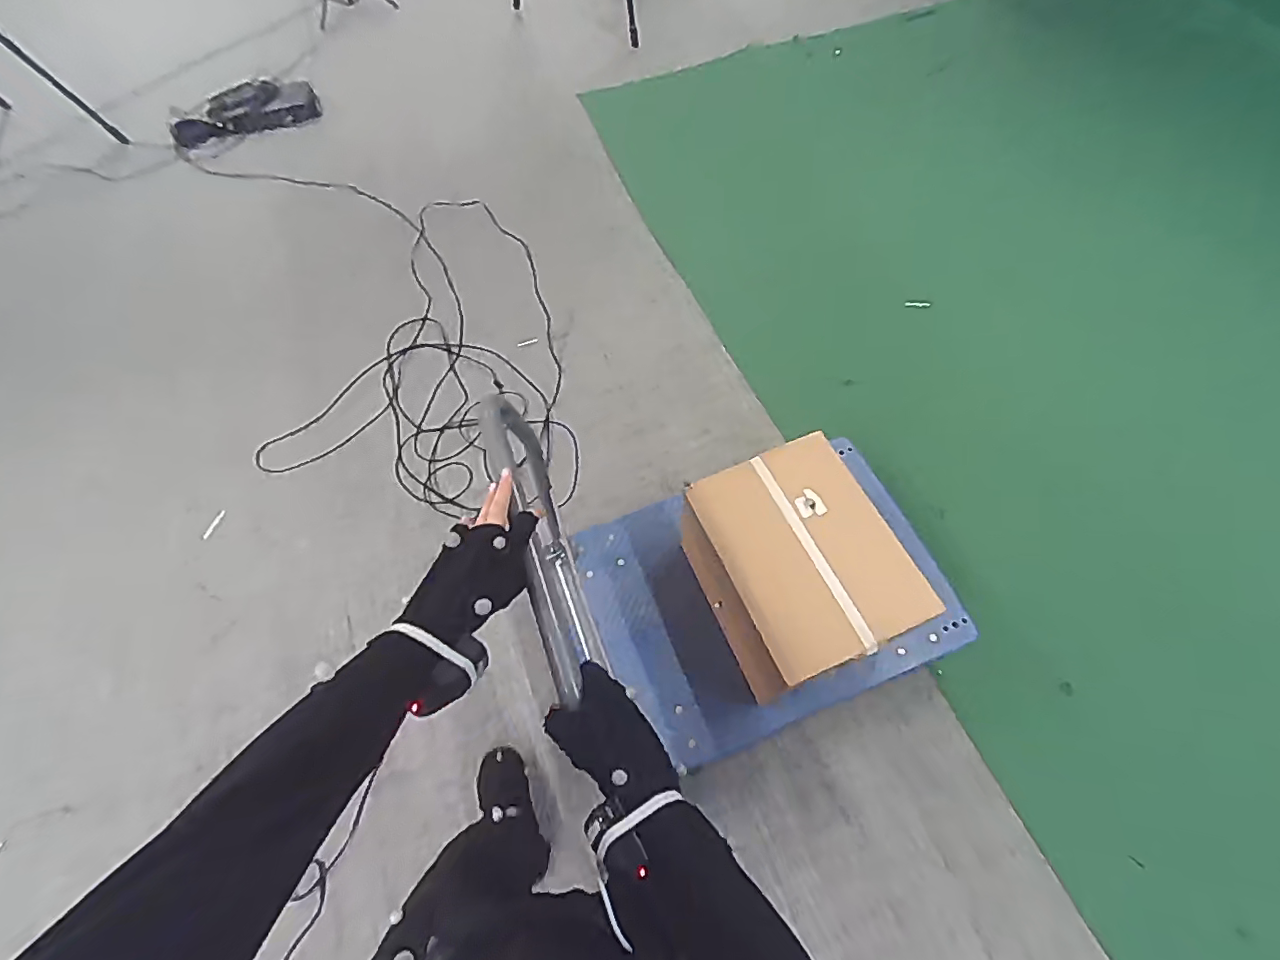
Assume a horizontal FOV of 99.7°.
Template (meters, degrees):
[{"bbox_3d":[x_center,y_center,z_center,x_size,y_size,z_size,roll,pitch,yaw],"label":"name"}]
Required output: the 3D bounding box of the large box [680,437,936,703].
[{"bbox_3d":[0.305,0.193,1.127,0.320,0.320,0.408,-22,63,-9],"label":"large box"}]
